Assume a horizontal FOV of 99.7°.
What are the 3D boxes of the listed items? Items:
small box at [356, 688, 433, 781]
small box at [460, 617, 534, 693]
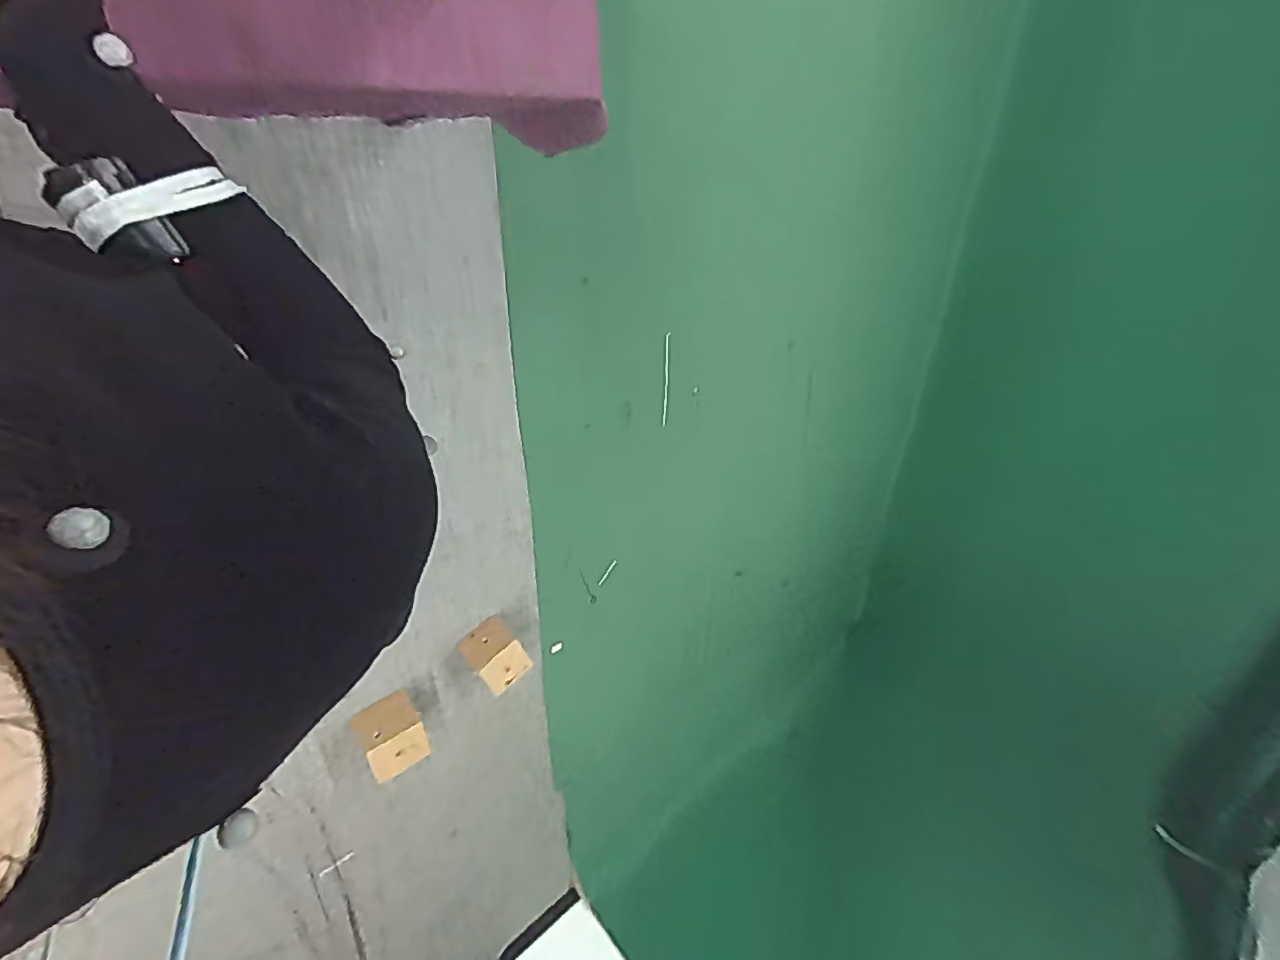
[{"bbox_3d":[-0.809,0.827,1.771,0.179,0.176,0.168,-23,127,-34],"label":"small box"},{"bbox_3d":[-0.517,0.621,1.948,0.168,0.176,0.179,-38,133,-24],"label":"small box"}]
